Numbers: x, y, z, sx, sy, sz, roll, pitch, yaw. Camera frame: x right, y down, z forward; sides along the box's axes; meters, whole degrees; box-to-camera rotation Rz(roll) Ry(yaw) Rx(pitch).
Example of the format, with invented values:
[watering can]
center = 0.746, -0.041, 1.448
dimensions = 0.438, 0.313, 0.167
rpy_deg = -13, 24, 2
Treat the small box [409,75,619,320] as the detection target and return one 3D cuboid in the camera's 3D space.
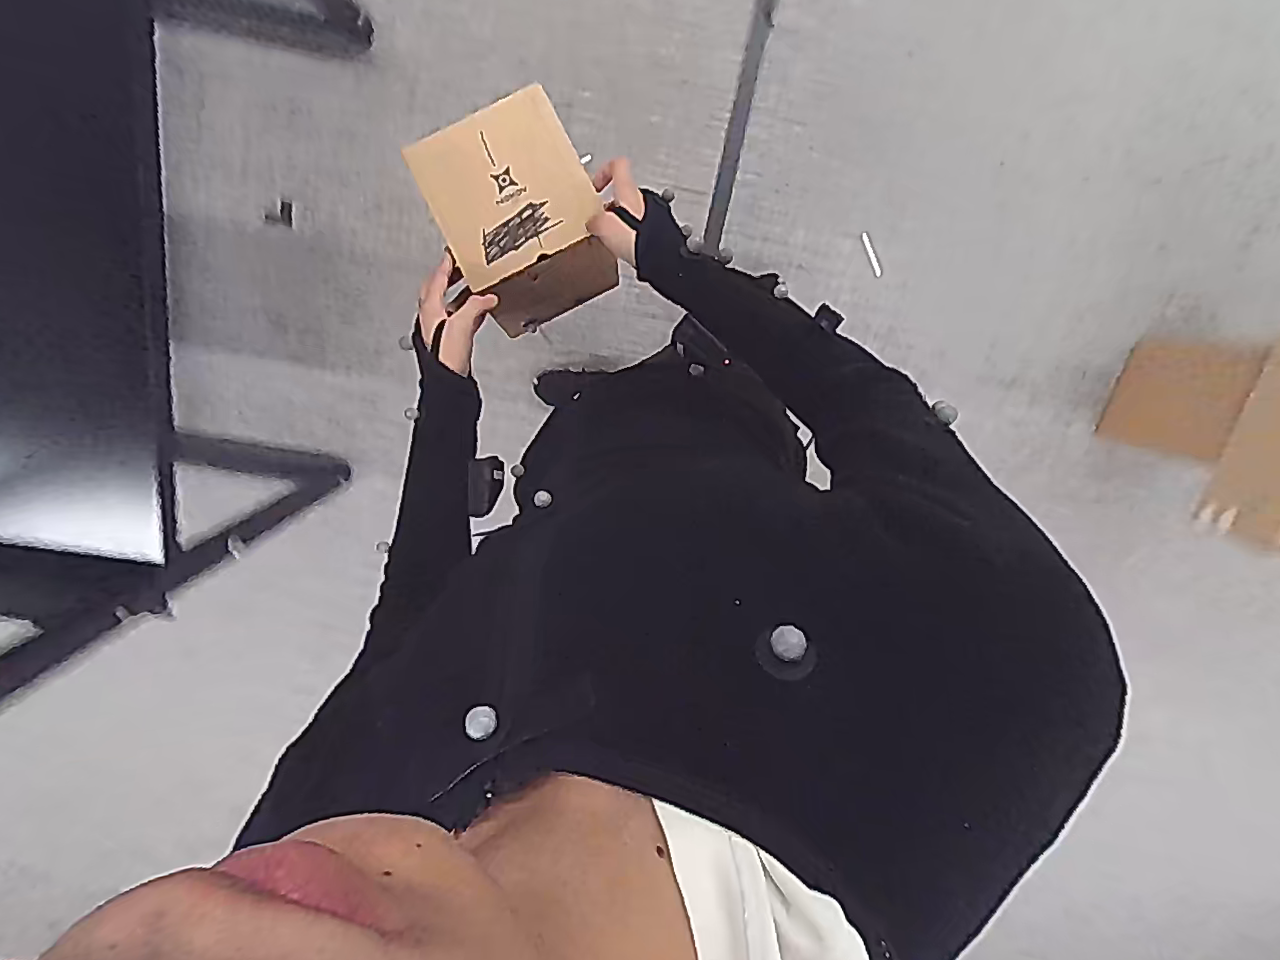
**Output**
[small box]
center = -0.130, -0.308, 0.639
dimensions = 0.168, 0.176, 0.179
rpy_deg = -26, 90, -1
